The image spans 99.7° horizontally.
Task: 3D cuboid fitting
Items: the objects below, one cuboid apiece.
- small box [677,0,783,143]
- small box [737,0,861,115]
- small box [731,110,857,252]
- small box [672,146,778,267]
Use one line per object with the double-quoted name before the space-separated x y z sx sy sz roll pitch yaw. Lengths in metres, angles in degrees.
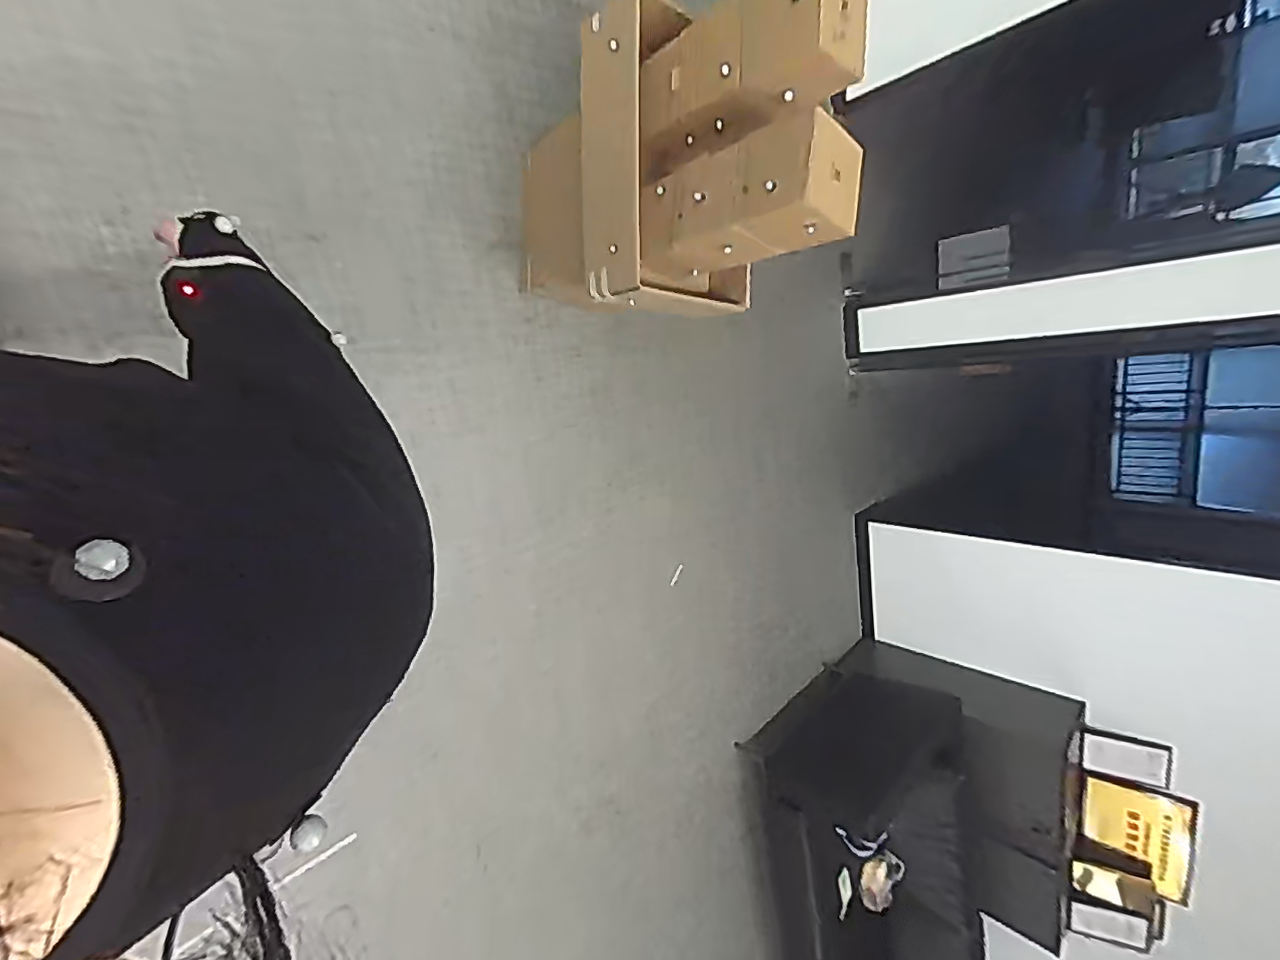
"small box" 0.191 -0.860 1.150 0.168 0.176 0.179 -8 102 -41
"small box" 0.300 -0.842 1.027 0.168 0.176 0.179 -9 102 -41
"small box" 0.296 -0.566 1.054 0.179 0.176 0.168 3 93 -43
"small box" 0.187 -0.579 1.176 0.179 0.176 0.168 2 94 -42
